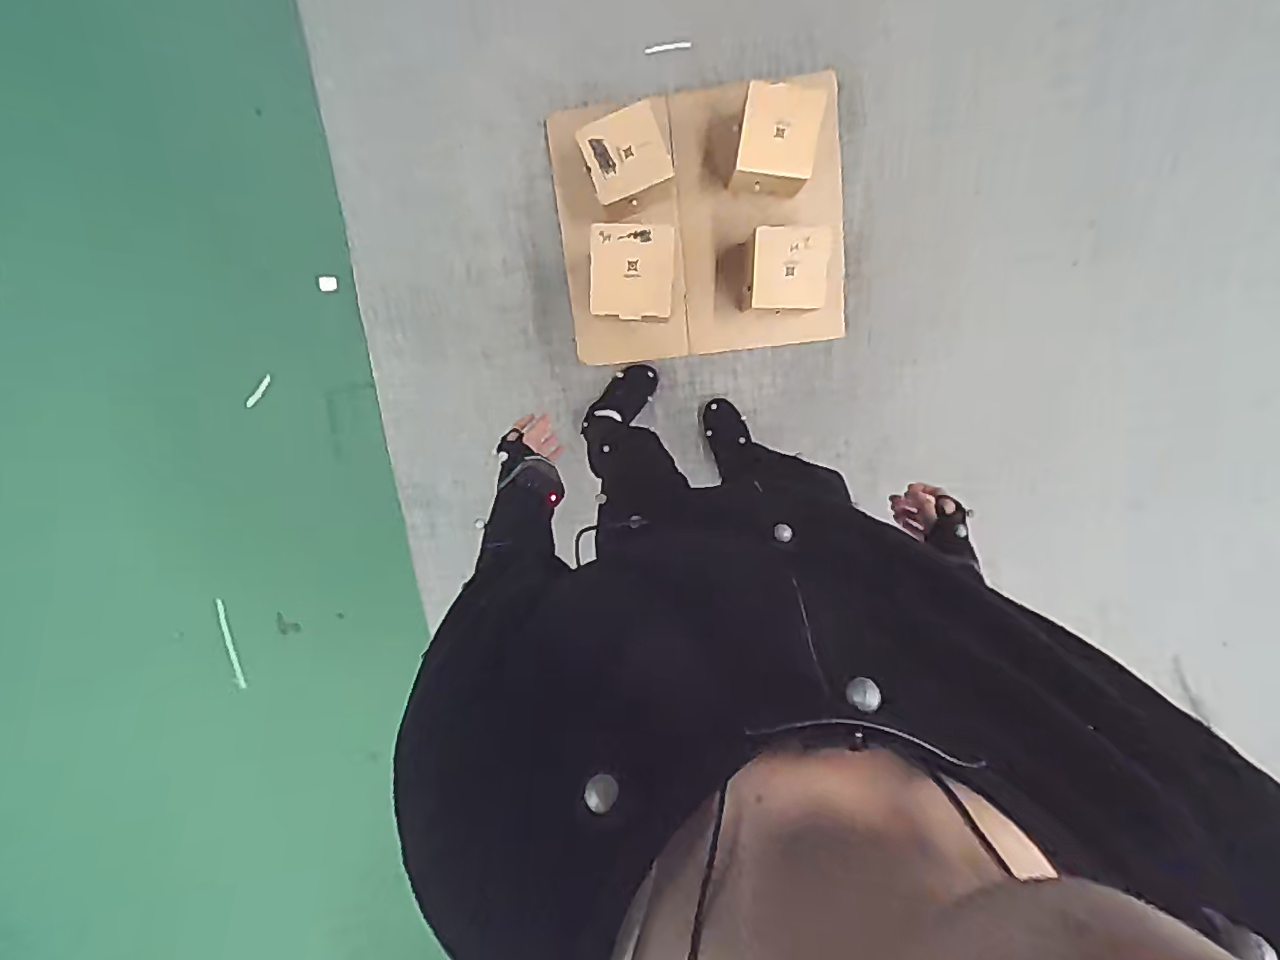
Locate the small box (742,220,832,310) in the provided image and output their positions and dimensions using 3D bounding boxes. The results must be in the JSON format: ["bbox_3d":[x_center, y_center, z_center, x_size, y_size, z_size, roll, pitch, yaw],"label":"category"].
[{"bbox_3d":[0.336,-0.496,1.270,0.168,0.176,0.179,2,103,2],"label":"small box"}]

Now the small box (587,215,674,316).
[{"bbox_3d":[-0.016,-0.441,1.137,0.168,0.176,0.179,3,103,1],"label":"small box"}]

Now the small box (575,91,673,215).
[{"bbox_3d":[-0.030,-0.735,1.240,0.179,0.176,0.168,-19,101,6],"label":"small box"}]
